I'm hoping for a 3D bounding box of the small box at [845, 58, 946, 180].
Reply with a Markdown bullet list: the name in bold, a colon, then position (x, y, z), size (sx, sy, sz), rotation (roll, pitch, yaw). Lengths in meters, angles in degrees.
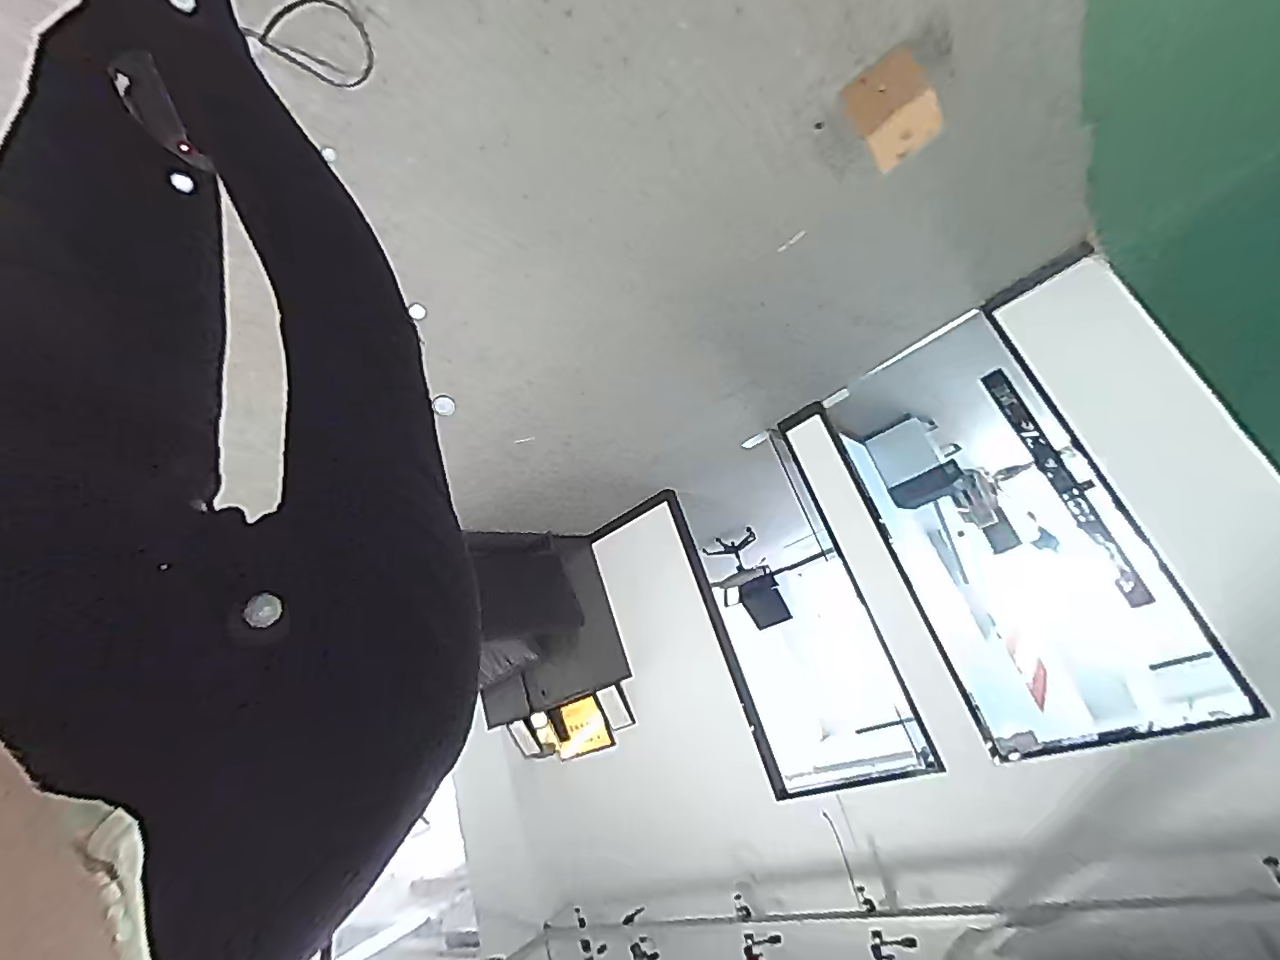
- **small box**: position (0.653, -0.930, 1.390), size (0.168, 0.176, 0.179), rotation (-31, 156, 29)
